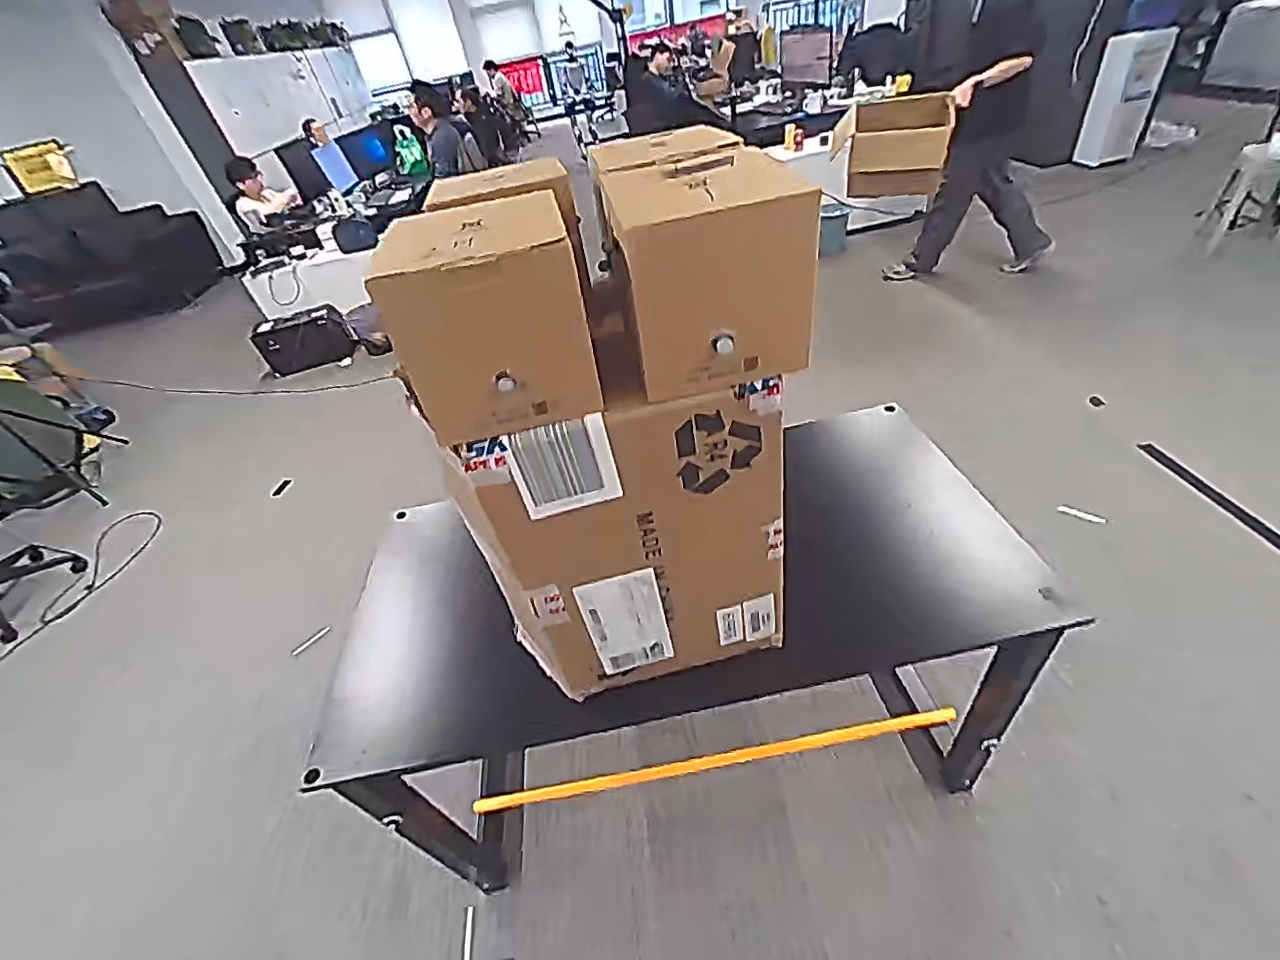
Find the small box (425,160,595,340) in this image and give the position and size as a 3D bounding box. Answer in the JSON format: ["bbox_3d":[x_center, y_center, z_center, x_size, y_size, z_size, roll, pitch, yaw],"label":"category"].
[{"bbox_3d":[-0.166,-0.307,0.720,0.168,0.176,0.179,-16,39,-5],"label":"small box"}]

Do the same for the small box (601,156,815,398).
[{"bbox_3d":[0.061,-0.208,0.551,0.168,0.176,0.179,-13,41,-1],"label":"small box"}]
